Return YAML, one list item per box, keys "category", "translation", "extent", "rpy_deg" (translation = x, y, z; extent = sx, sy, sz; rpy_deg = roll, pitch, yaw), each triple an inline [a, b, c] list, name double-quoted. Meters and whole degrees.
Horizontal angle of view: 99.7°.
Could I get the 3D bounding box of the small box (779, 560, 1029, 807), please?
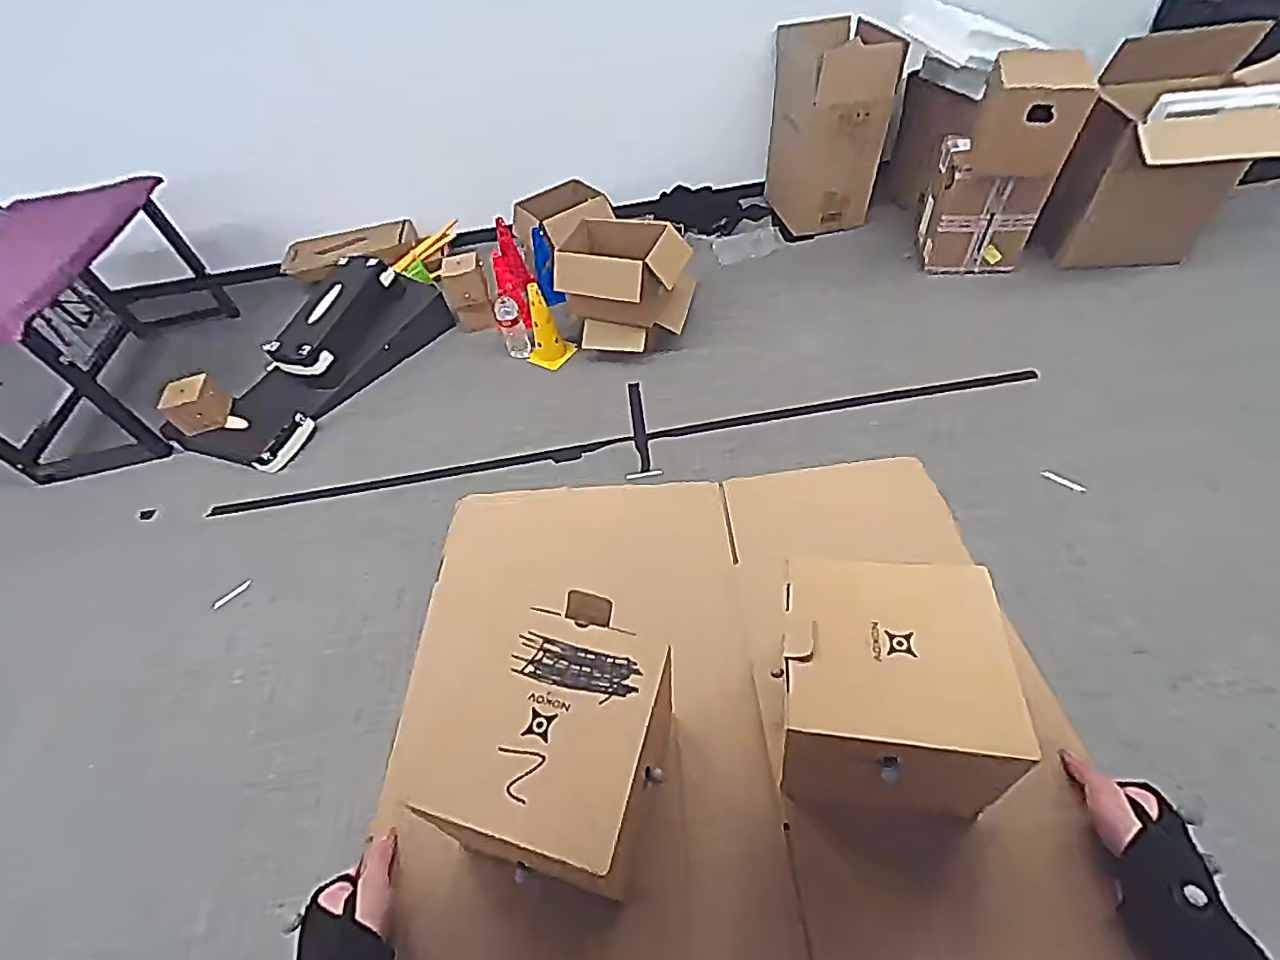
- category: "small box"
  translation: [0.227, 0.196, 0.520]
  extent: [0.179, 0.176, 0.168]
  rpy_deg: [1, 47, 15]
